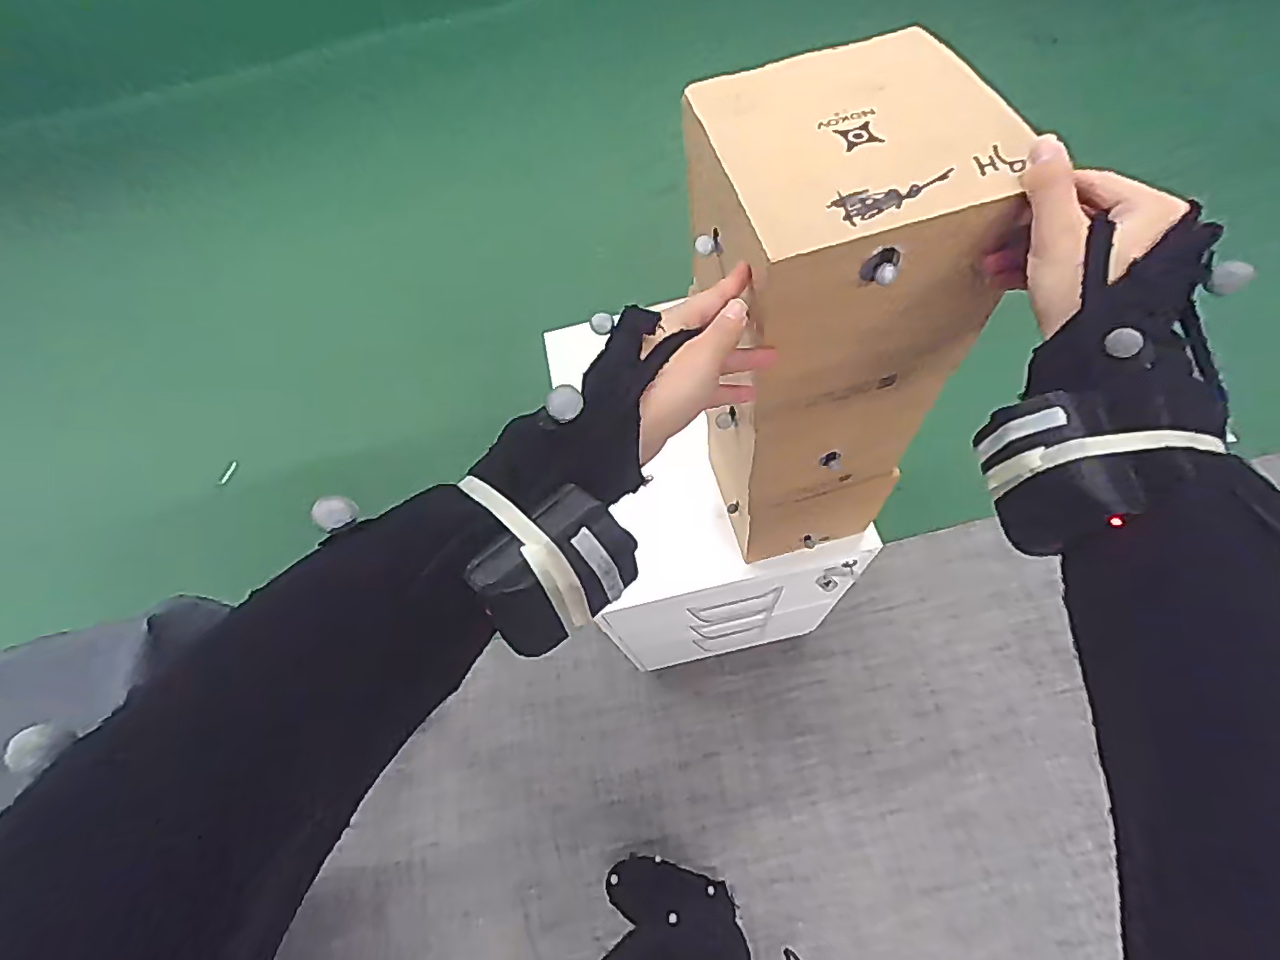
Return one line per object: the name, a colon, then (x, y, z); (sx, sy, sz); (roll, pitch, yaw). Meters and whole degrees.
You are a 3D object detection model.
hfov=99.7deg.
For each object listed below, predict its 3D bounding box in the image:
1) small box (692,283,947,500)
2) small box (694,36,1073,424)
small box: (0.157, -0.096, 0.537); (0.168, 0.176, 0.179); (-16, 62, -1)
small box: (0.139, -0.169, 0.393); (0.168, 0.176, 0.179); (-15, 62, 0)
